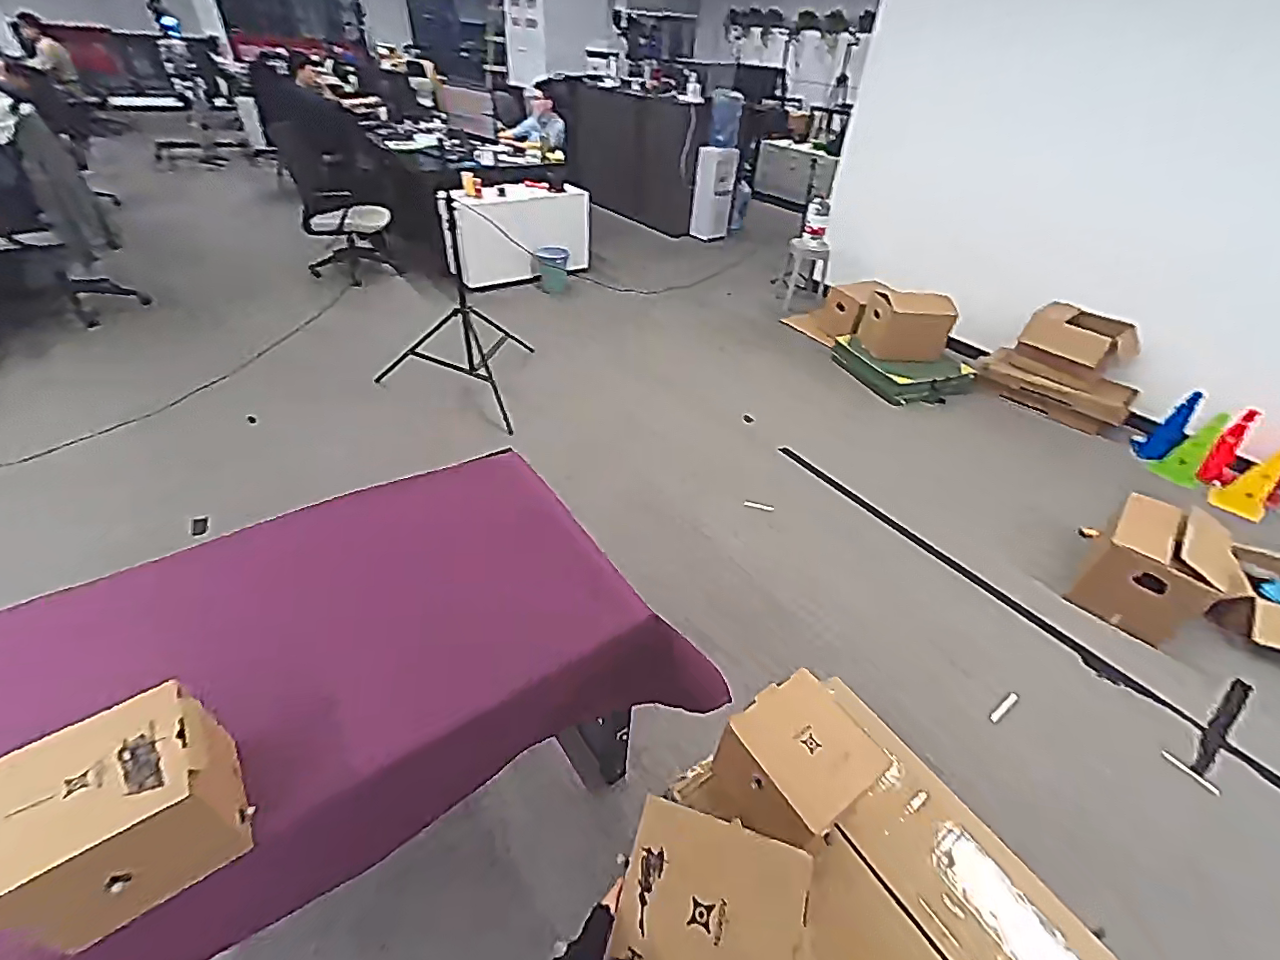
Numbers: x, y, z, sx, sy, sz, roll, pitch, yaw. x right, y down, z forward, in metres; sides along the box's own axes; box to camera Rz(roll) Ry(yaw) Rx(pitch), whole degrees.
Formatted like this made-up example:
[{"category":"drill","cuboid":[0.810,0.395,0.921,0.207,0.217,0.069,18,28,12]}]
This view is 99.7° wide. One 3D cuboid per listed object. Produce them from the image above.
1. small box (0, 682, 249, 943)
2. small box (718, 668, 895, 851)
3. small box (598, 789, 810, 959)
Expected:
[{"category":"small box","cuboid":[-0.591,0.383,0.634,0.179,0.176,0.168,-24,46,-29]},{"category":"small box","cuboid":[0.239,0.432,0.822,0.168,0.176,0.179,-23,48,-27]},{"category":"small box","cuboid":[0.063,0.453,0.576,0.179,0.176,0.168,15,55,9]}]
